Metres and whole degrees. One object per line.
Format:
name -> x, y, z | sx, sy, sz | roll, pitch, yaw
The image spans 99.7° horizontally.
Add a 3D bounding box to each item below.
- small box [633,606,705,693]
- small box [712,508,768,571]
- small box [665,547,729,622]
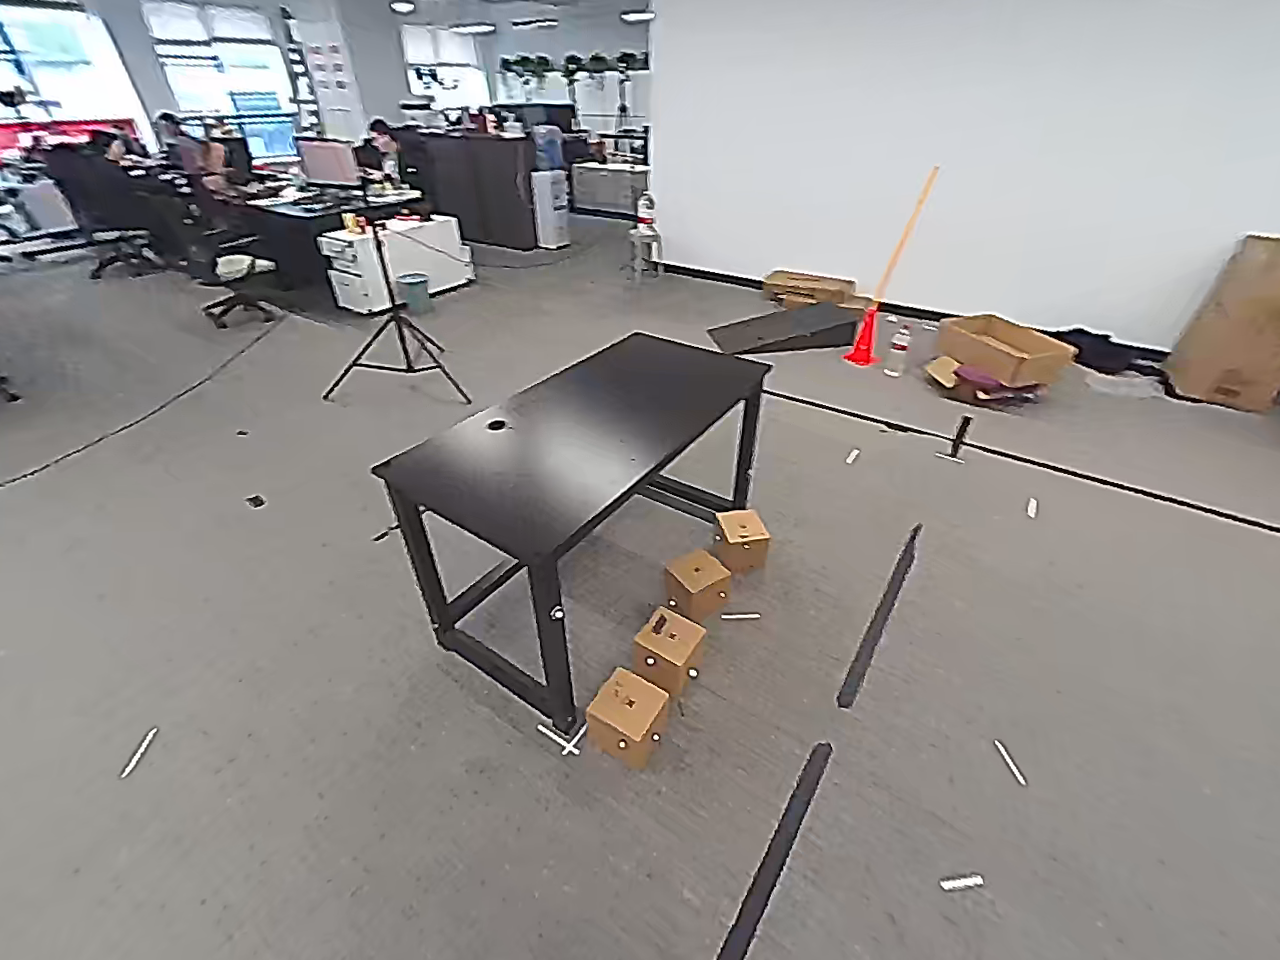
small box -> 0.090, 0.545, 1.735 | 0.179, 0.176, 0.168 | 22, 42, 26
small box -> 0.390, 0.238, 2.151 | 0.168, 0.176, 0.179 | -8, 37, -10
small box -> 0.201, 0.380, 1.962 | 0.179, 0.176, 0.168 | -23, 41, -27
